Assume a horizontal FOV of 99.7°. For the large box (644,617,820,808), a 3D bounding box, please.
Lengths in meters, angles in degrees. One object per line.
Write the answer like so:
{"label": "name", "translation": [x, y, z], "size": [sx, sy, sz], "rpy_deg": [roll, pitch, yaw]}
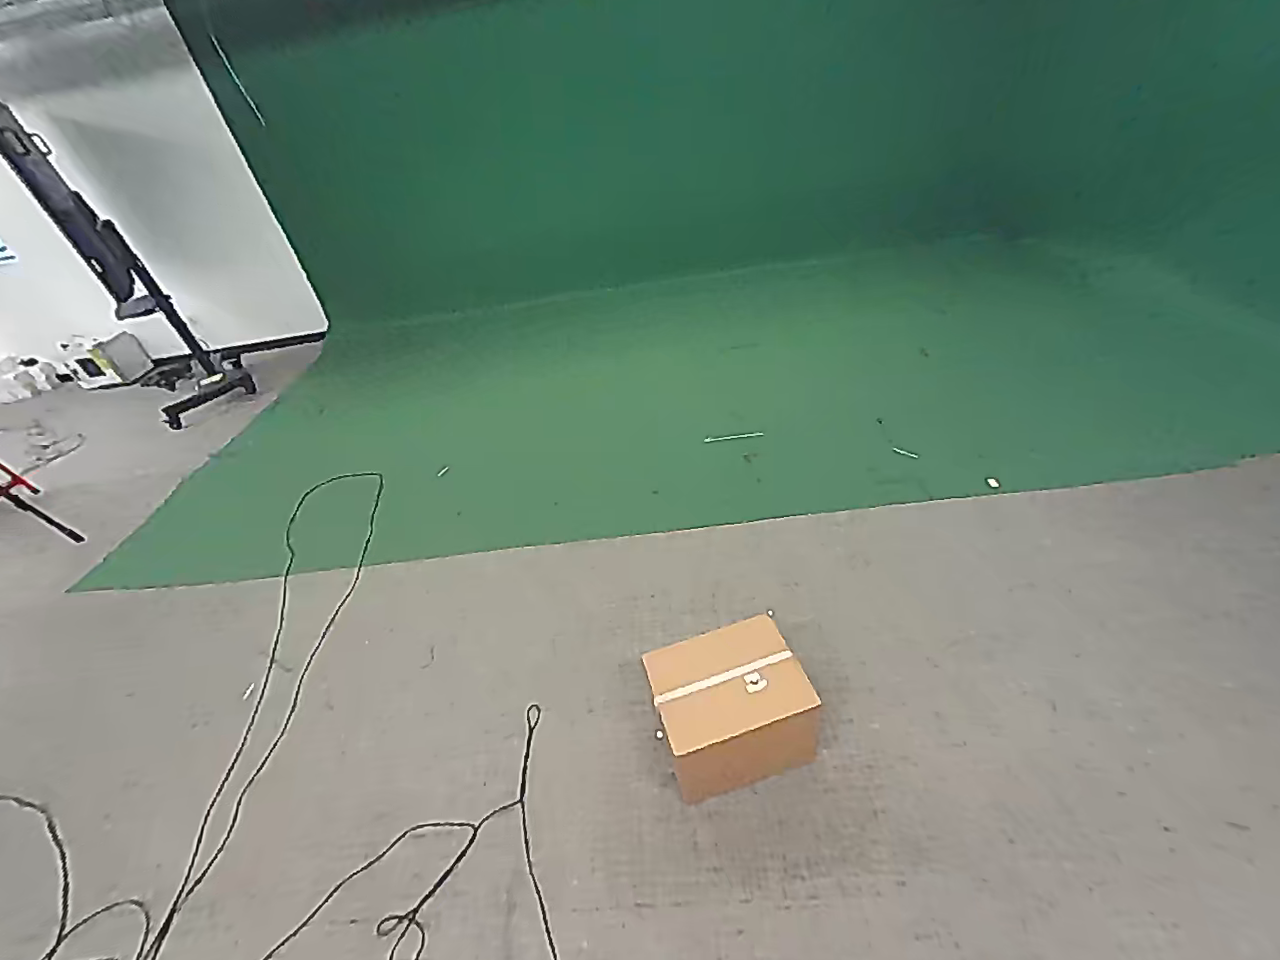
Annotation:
{"label": "large box", "translation": [0.260, 0.667, 1.567], "size": [0.408, 0.320, 0.320], "rpy_deg": [-16, 37, -7]}
